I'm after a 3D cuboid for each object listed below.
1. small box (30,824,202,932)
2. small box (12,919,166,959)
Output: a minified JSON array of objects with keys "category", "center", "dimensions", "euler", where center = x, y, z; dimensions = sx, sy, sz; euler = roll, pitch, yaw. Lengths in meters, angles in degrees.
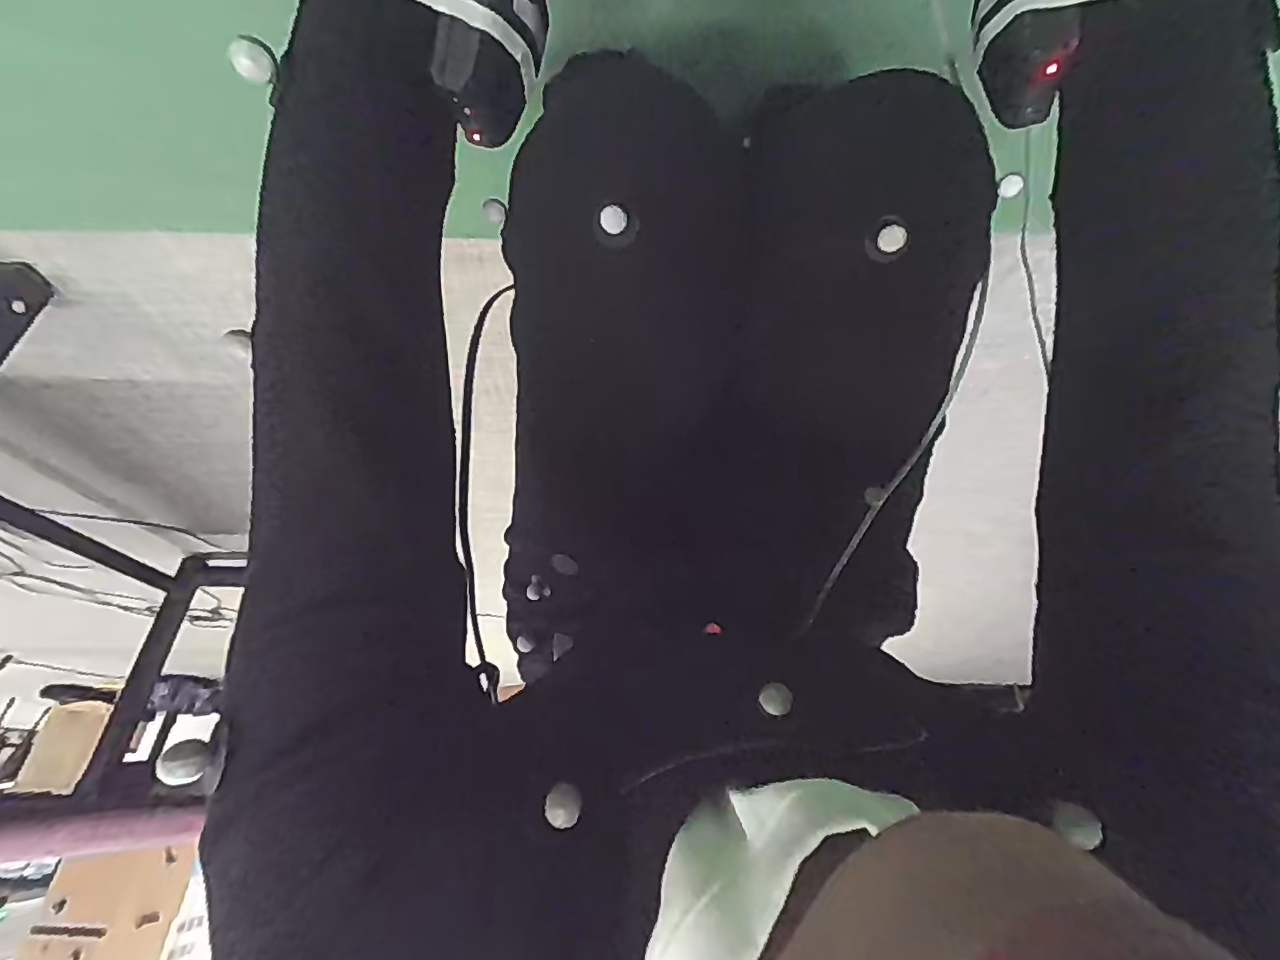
[{"category":"small box","center":[-1.110,0.845,1.164],"dimensions":[0.179,0.176,0.168],"euler":[-2,150,5]},{"category":"small box","center":[-1.118,0.987,1.074],"dimensions":[0.168,0.176,0.179],"euler":[1,150,4]}]
